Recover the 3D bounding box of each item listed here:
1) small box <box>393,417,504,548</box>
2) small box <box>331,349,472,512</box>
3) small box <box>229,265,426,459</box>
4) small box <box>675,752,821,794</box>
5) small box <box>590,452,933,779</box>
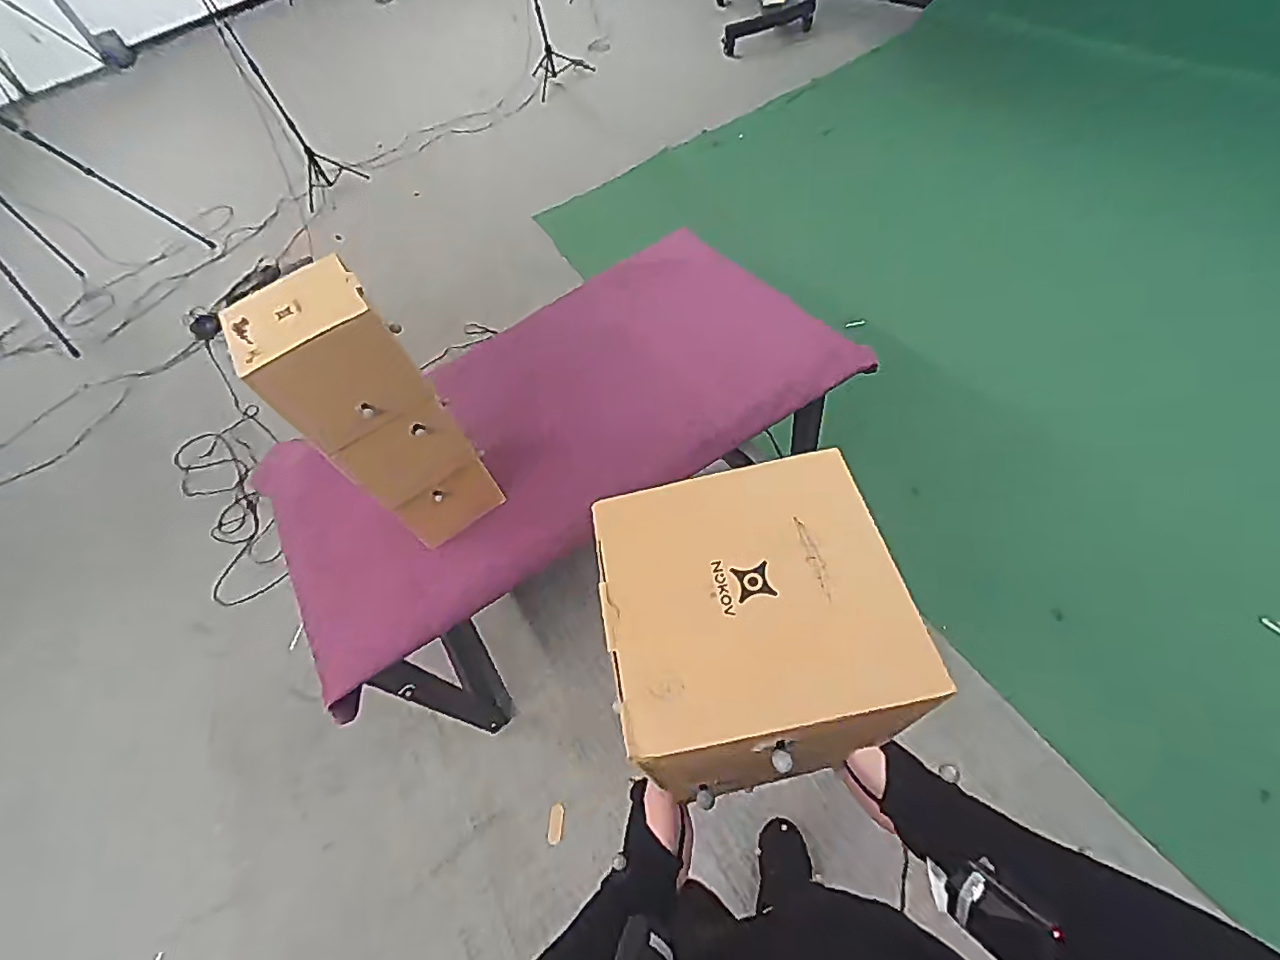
[{"bbox_3d":[-0.388,0.000,1.058,0.179,0.176,0.168,-35,58,-10],"label":"small box"},{"bbox_3d":[-0.408,-0.080,0.914,0.179,0.176,0.168,-33,57,-9],"label":"small box"},{"bbox_3d":[-0.434,-0.165,0.777,0.179,0.176,0.168,-33,57,-11],"label":"small box"},{"bbox_3d":[0.119,0.278,0.674,0.179,0.176,0.168,-14,55,1],"label":"small box"},{"bbox_3d":[0.073,0.108,0.397,0.179,0.176,0.168,-12,55,2],"label":"small box"}]
